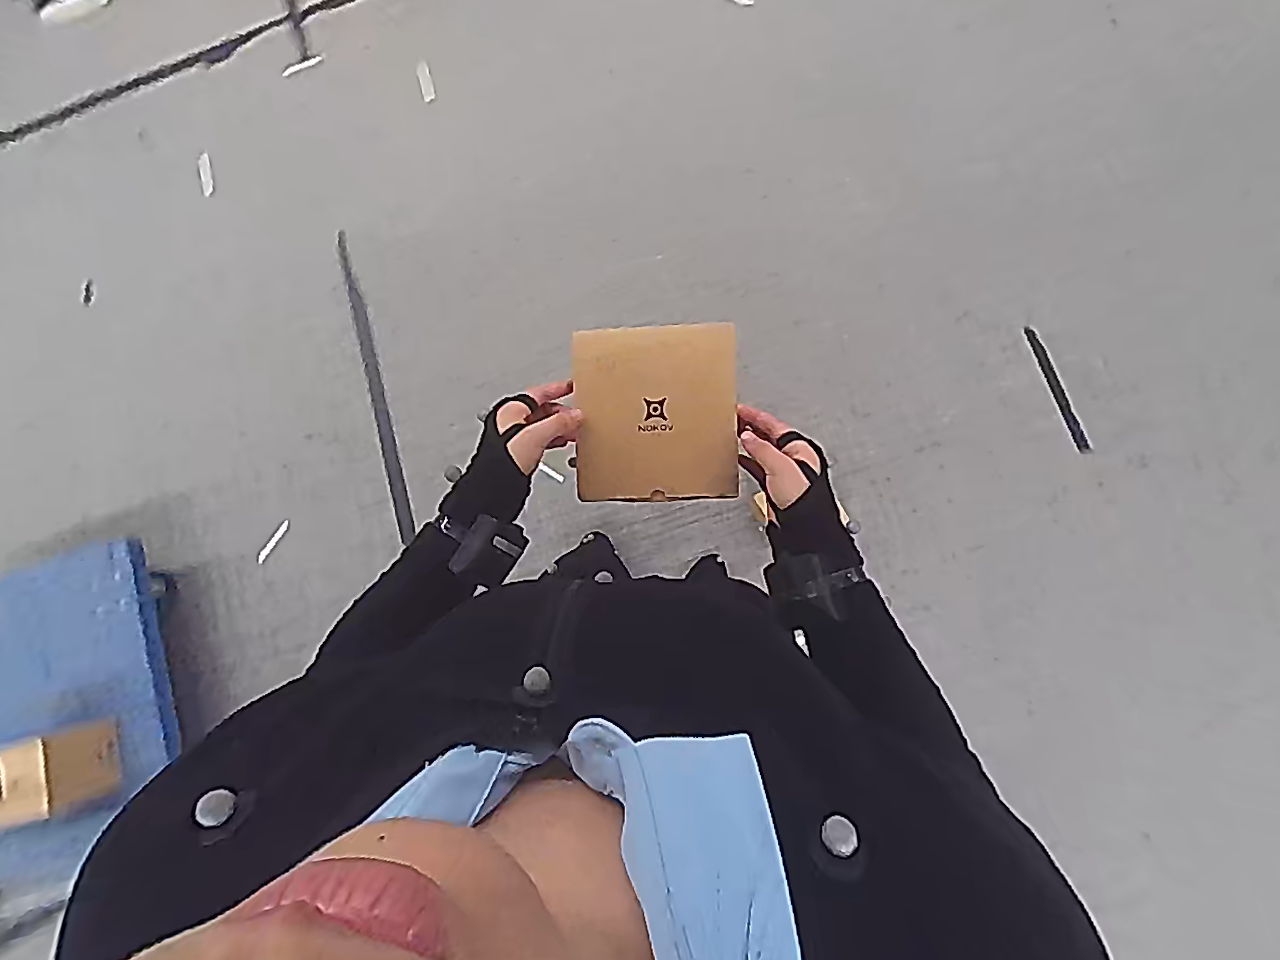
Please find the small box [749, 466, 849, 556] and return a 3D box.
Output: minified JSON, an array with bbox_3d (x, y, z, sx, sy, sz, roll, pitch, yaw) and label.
[{"bbox_3d":[0.400,0.082,1.395,0.179,0.176,0.168,-29,80,2],"label":"small box"}]
